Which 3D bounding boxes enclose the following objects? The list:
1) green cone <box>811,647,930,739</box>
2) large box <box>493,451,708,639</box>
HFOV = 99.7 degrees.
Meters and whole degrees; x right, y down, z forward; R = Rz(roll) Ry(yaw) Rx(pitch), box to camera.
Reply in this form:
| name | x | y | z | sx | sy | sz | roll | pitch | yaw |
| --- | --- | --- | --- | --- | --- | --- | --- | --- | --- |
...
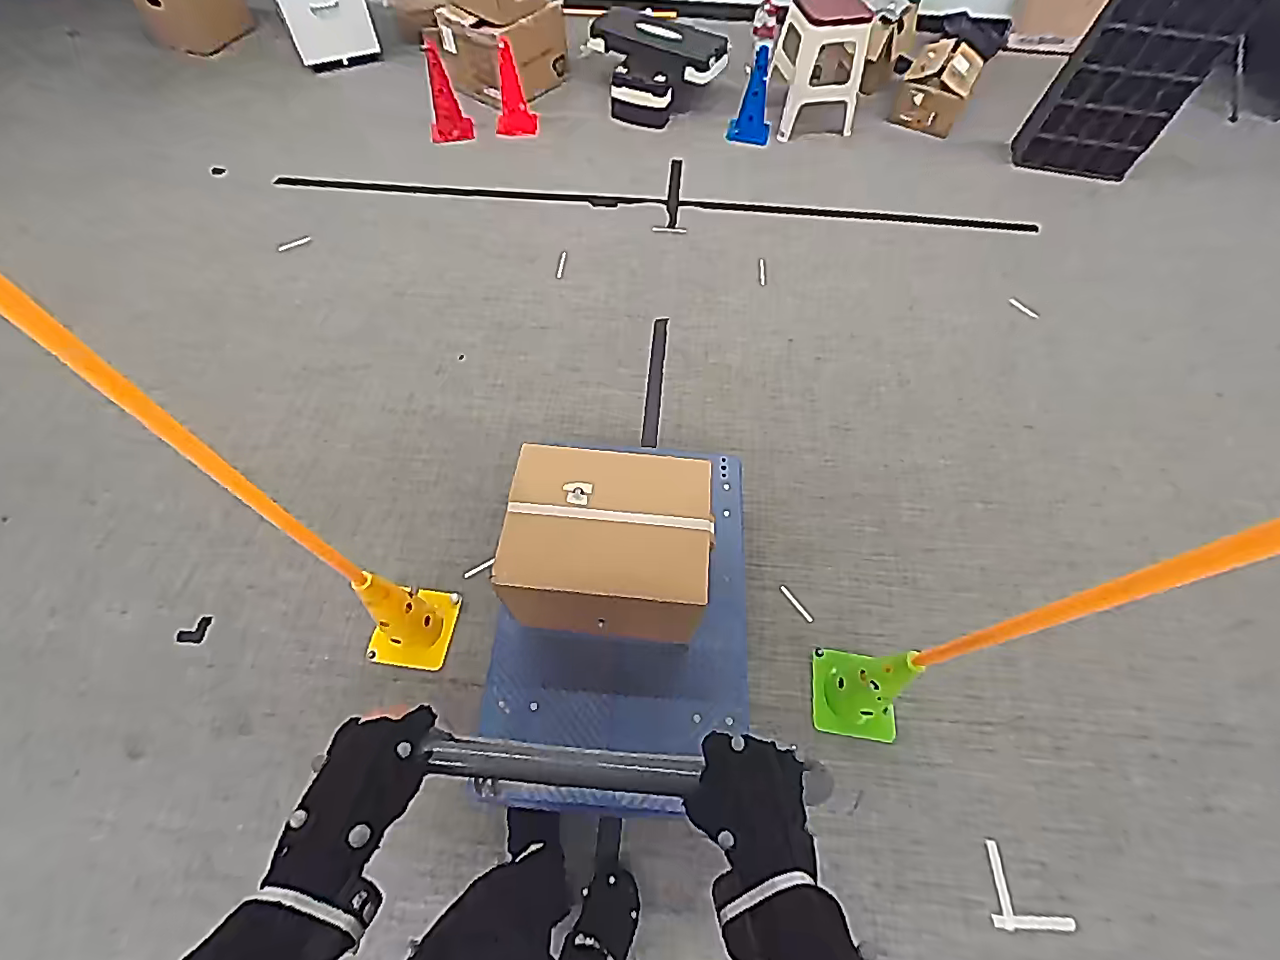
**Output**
| name | x | y | z | sx | sy | sz | roll | pitch | yaw |
| --- | --- | --- | --- | --- | --- | --- | --- | --- | --- |
| green cone | 0.540 | 0.449 | 1.219 | 0.202 | 0.368 | 0.200 | 9 | 60 | 2 |
| large box | -0.065 | 0.156 | 1.208 | 0.408 | 0.320 | 0.320 | 5 | 60 | 3 |
